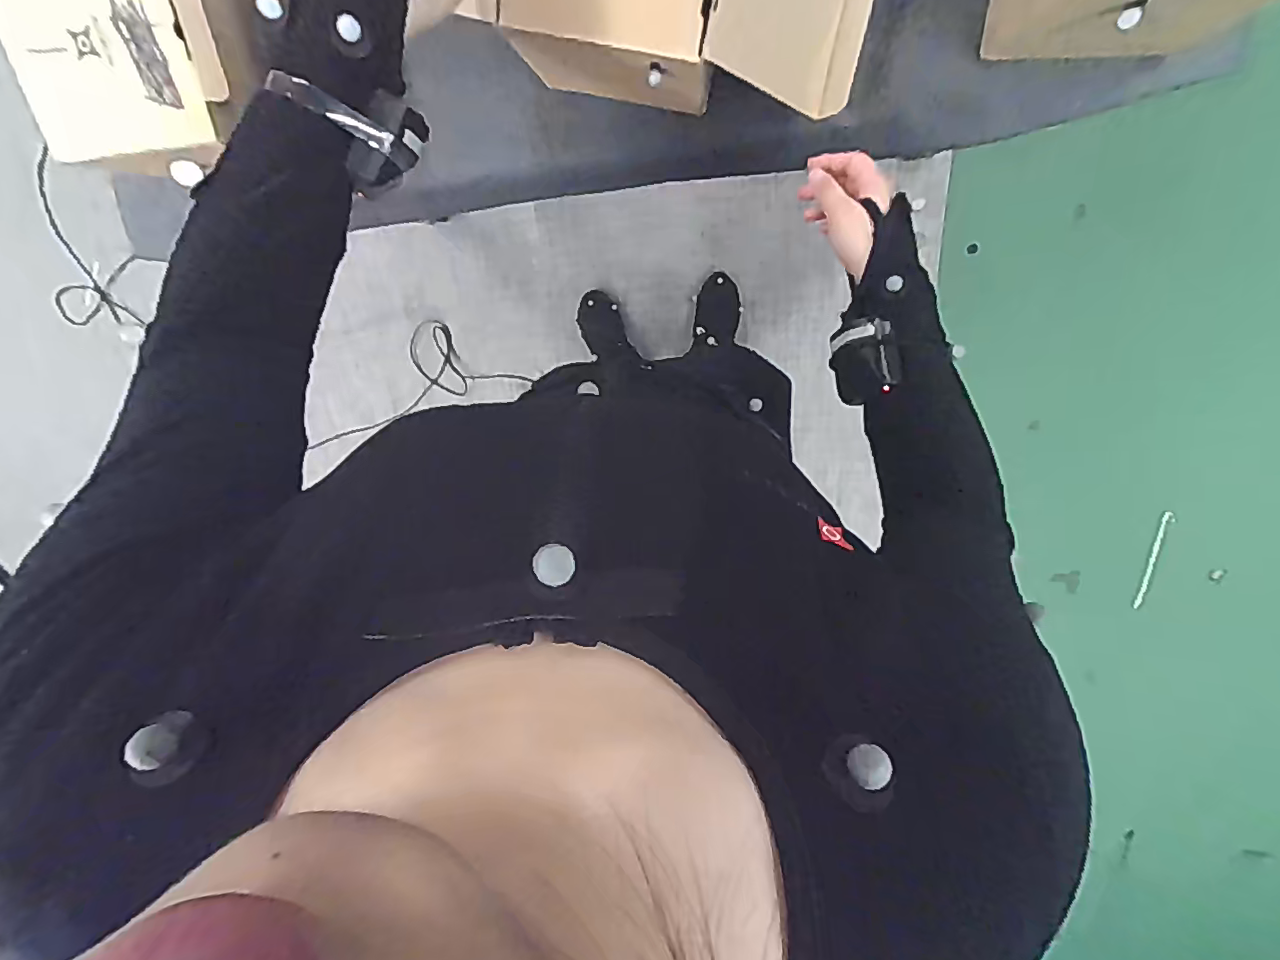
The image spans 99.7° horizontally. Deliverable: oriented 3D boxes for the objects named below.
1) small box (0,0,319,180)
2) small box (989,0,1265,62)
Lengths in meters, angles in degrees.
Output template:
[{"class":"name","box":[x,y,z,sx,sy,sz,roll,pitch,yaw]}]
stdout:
[{"class":"small box","box":[-0.458,-0.405,0.538,0.179,0.176,0.168,-2,114,7]},{"class":"small box","box":[0.409,-0.451,0.416,0.179,0.176,0.168,3,110,6]}]
